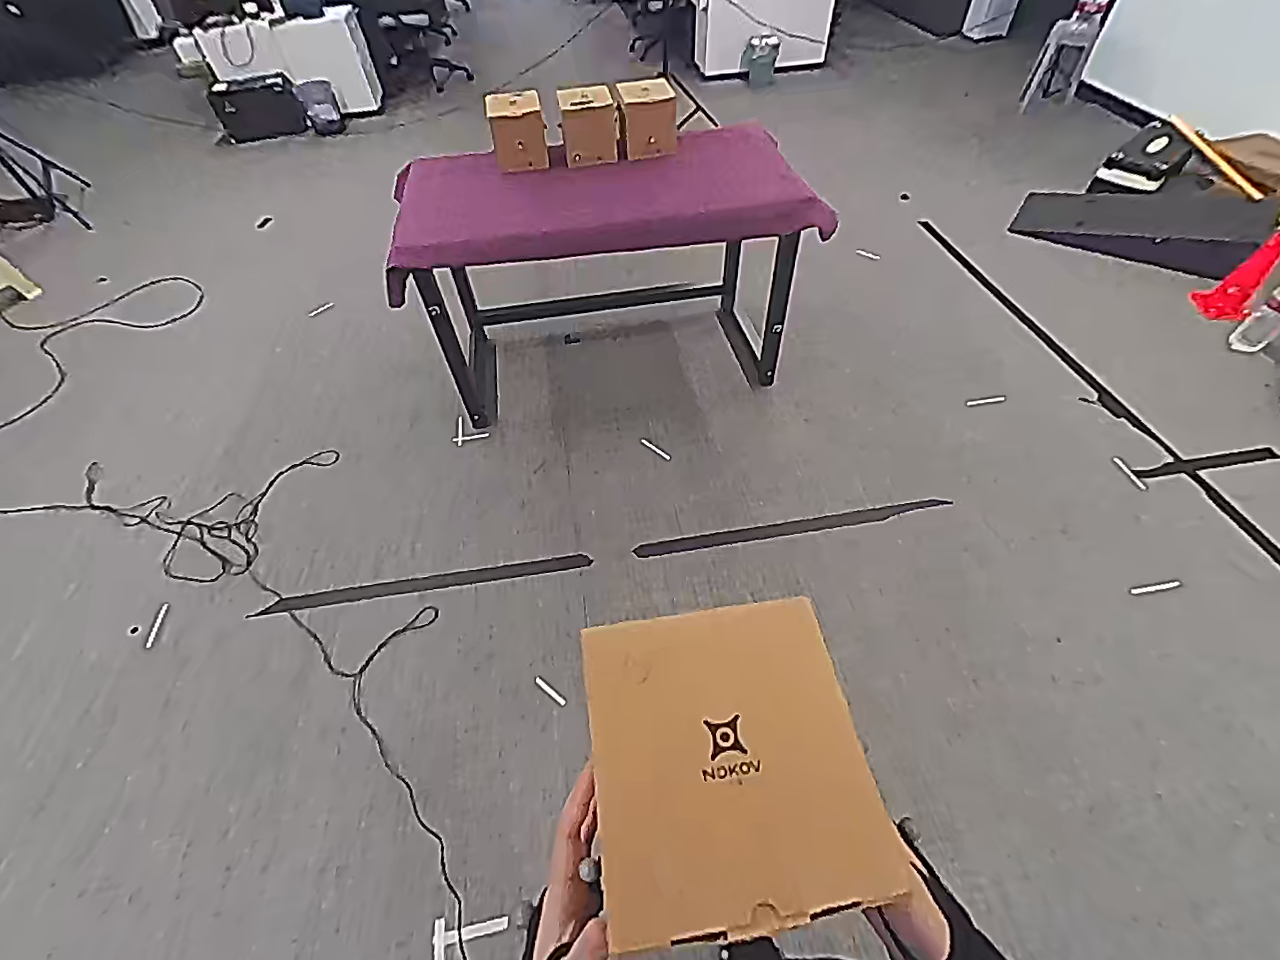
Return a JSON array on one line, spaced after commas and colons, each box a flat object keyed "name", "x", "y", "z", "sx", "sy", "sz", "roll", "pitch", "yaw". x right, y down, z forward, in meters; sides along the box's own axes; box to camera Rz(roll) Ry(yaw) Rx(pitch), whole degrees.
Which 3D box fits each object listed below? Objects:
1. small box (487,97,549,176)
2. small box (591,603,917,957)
[{"name": "small box", "x": -0.395, "y": -1.112, "z": 1.760, "sx": 0.168, "sy": 0.176, "sz": 0.179, "roll": -10, "pitch": 54, "yaw": -5}, {"name": "small box", "x": 0.055, "y": 0.213, "z": 0.395, "sx": 0.168, "sy": 0.176, "sz": 0.179, "roll": -7, "pitch": 54, "yaw": -6}]
